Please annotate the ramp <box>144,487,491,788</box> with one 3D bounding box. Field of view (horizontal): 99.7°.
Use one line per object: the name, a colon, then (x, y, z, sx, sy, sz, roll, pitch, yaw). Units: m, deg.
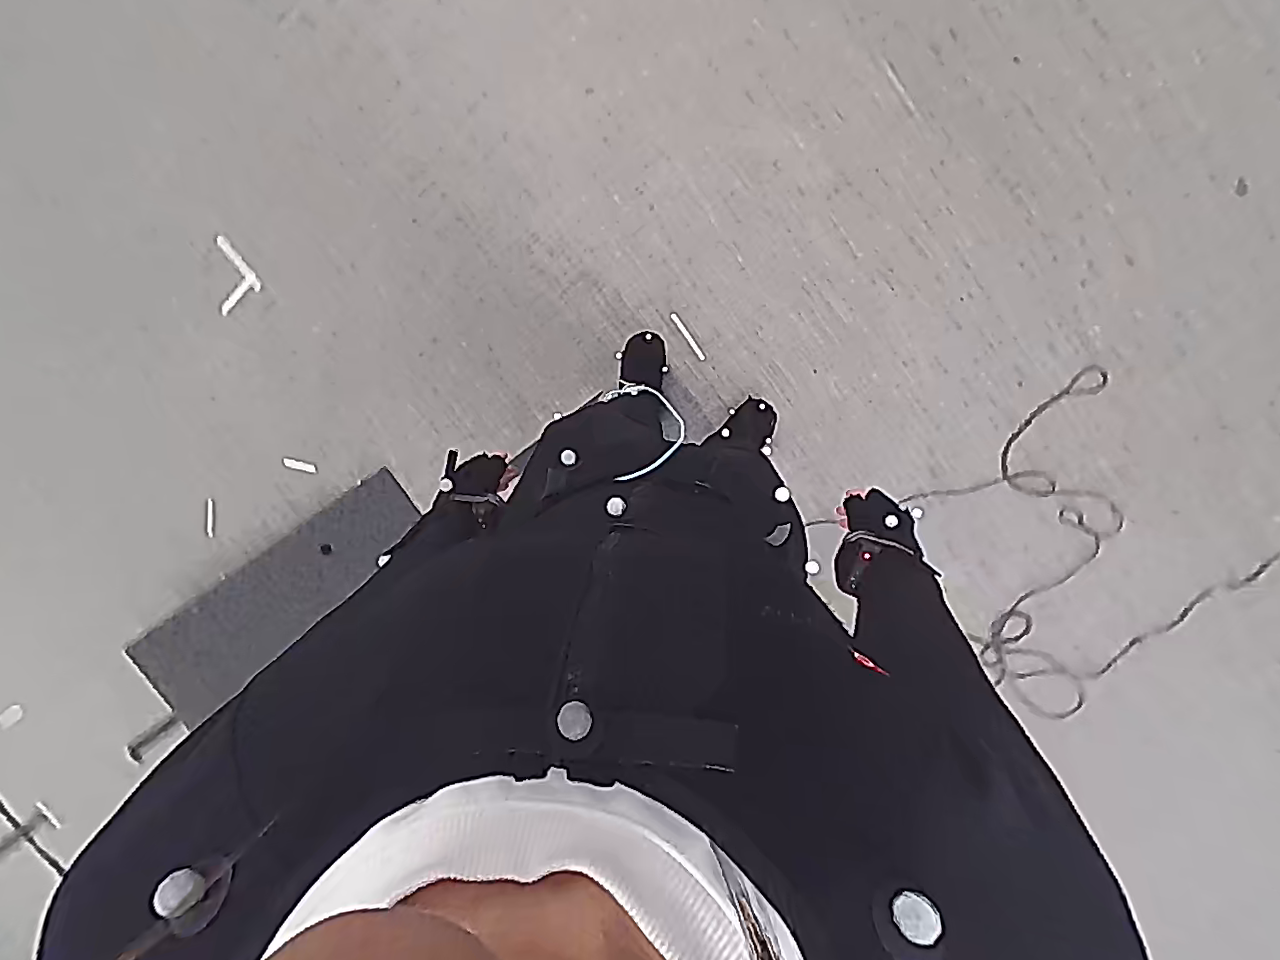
ramp: (-0.988, 0.489, 1.652, 0.991, 0.206, 0.509, -36, 92, 14)
